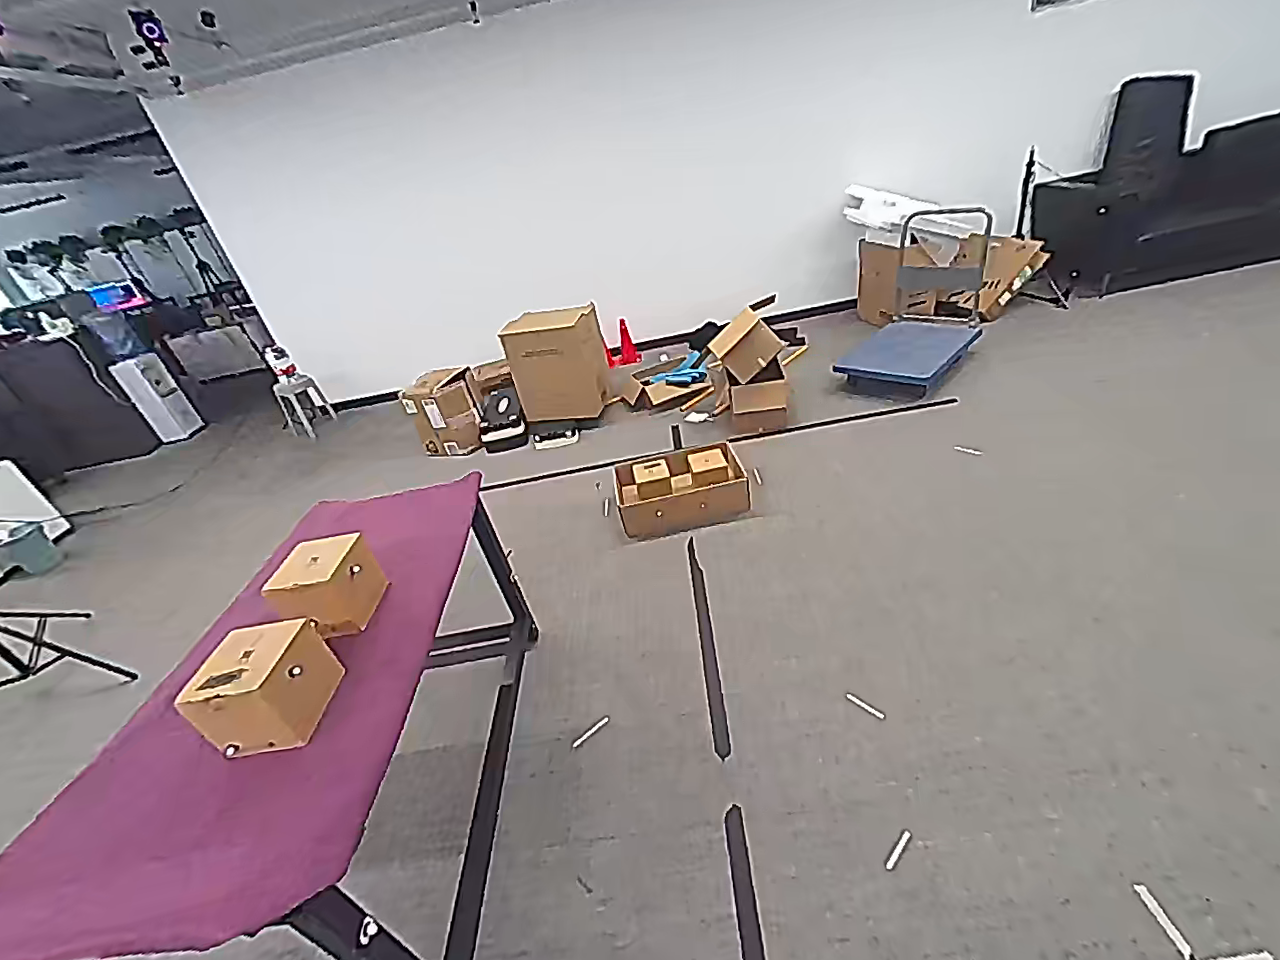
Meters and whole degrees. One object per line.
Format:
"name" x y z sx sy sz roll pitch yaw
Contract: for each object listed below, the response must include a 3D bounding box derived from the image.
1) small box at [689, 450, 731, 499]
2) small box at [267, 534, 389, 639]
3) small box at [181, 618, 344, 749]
"small box" 0.344 -0.021 2.656 0.168 0.176 0.179 -12 30 1
"small box" -0.738 0.258 1.306 0.168 0.176 0.179 -10 32 5
"small box" -0.721 0.404 1.062 0.168 0.176 0.179 -10 31 4
